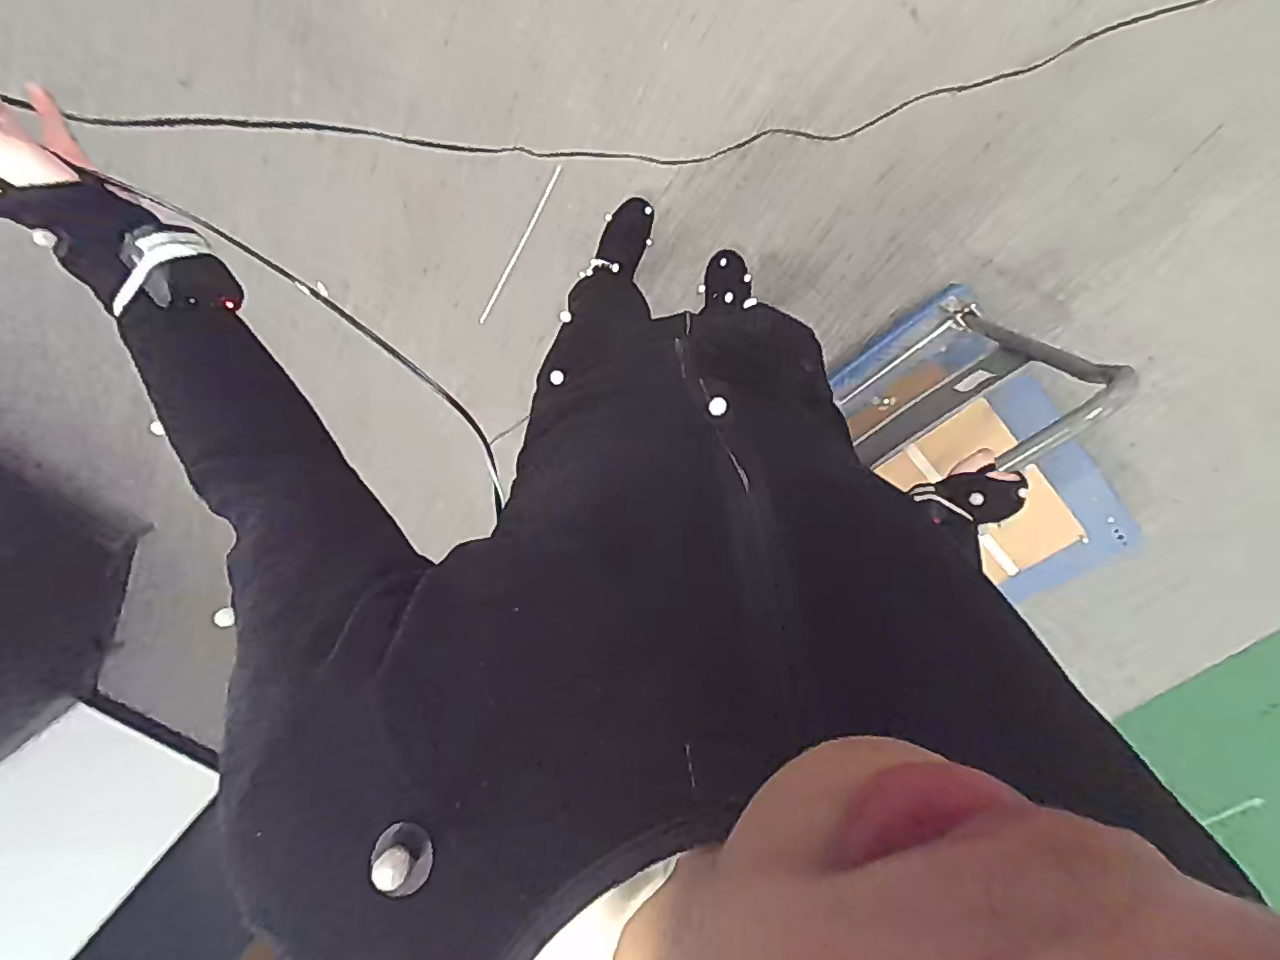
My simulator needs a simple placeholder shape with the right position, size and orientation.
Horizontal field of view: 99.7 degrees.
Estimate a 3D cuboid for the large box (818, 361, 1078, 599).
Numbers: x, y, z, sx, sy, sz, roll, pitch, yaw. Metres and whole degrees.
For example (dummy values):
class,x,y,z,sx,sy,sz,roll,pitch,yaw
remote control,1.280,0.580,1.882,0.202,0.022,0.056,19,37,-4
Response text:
class,x,y,z,sx,sy,sz,roll,pitch,yaw
large box,0.689,-0.010,1.276,0.320,0.320,0.408,-40,104,24
